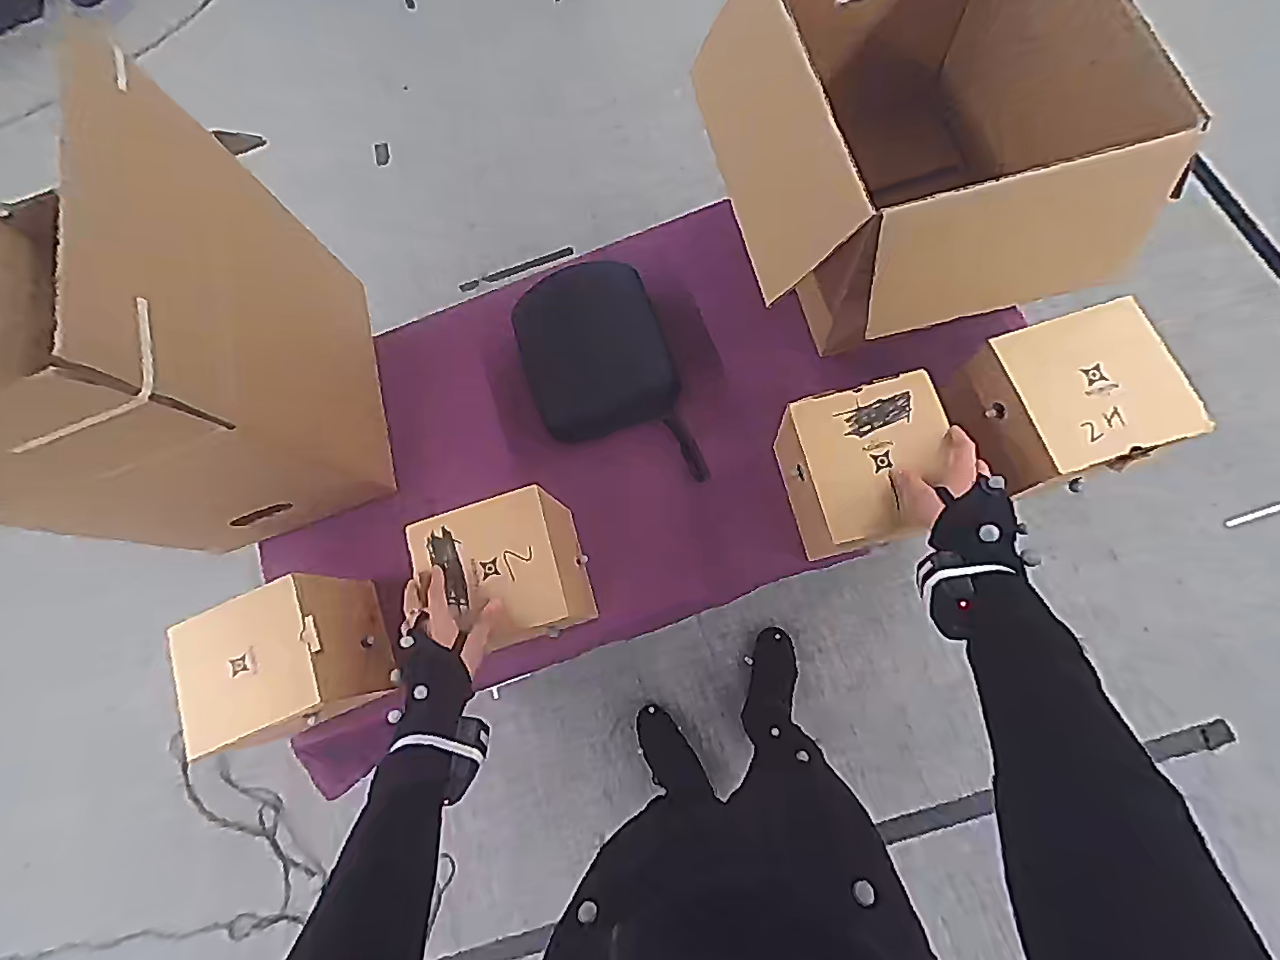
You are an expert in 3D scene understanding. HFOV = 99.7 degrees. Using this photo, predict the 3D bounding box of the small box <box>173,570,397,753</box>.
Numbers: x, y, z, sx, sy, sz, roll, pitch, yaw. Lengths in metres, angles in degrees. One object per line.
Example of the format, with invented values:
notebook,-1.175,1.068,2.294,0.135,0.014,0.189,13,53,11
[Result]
small box,-0.466,0.238,0.729,0.179,0.176,0.168,-24,73,0
